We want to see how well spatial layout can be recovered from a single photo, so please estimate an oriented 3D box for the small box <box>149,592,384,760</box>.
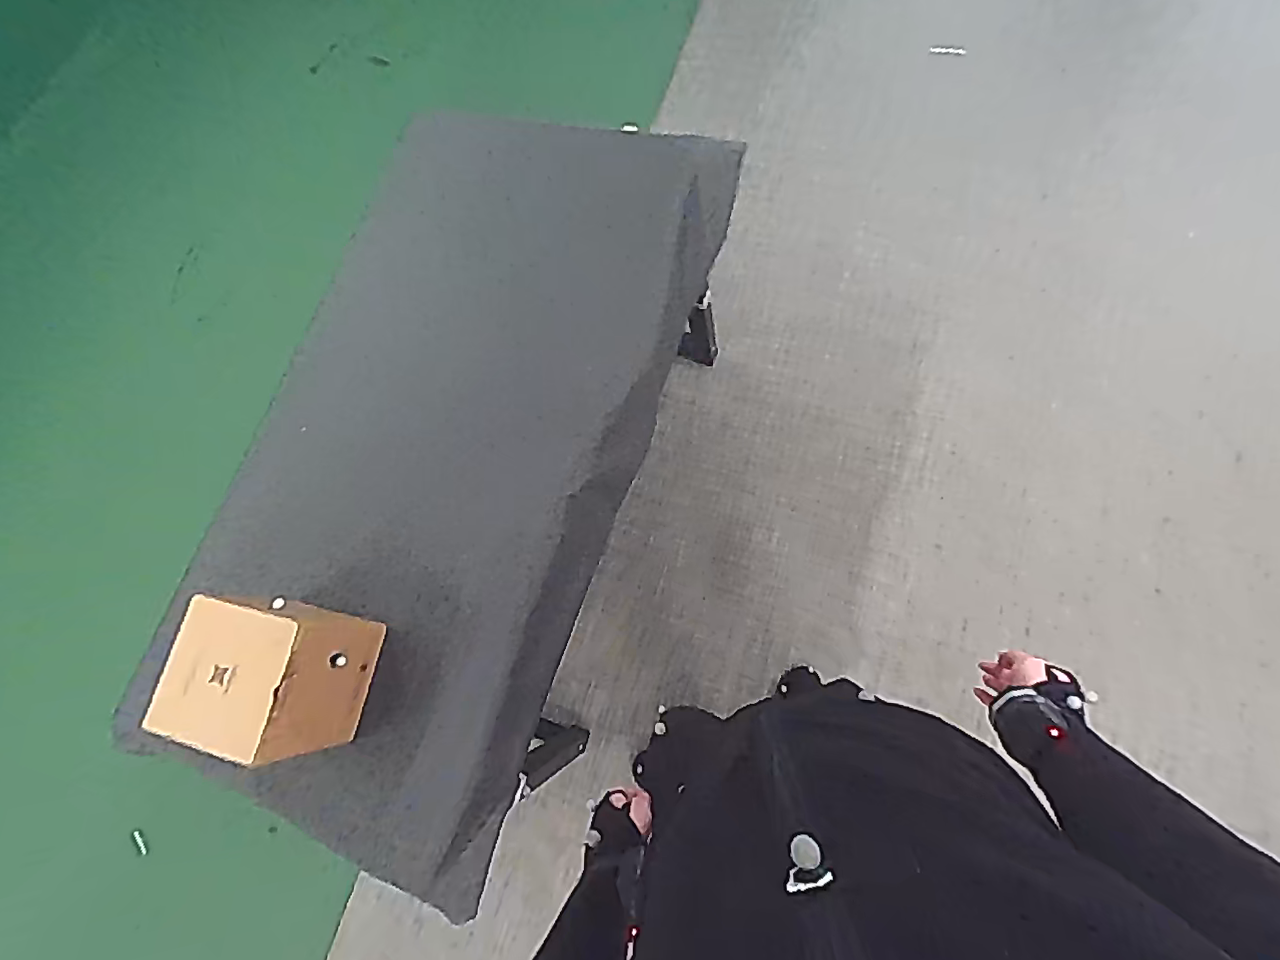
[{"bbox_3d":[-0.489,0.256,0.737,0.179,0.176,0.168,9,75,14],"label":"small box"}]
